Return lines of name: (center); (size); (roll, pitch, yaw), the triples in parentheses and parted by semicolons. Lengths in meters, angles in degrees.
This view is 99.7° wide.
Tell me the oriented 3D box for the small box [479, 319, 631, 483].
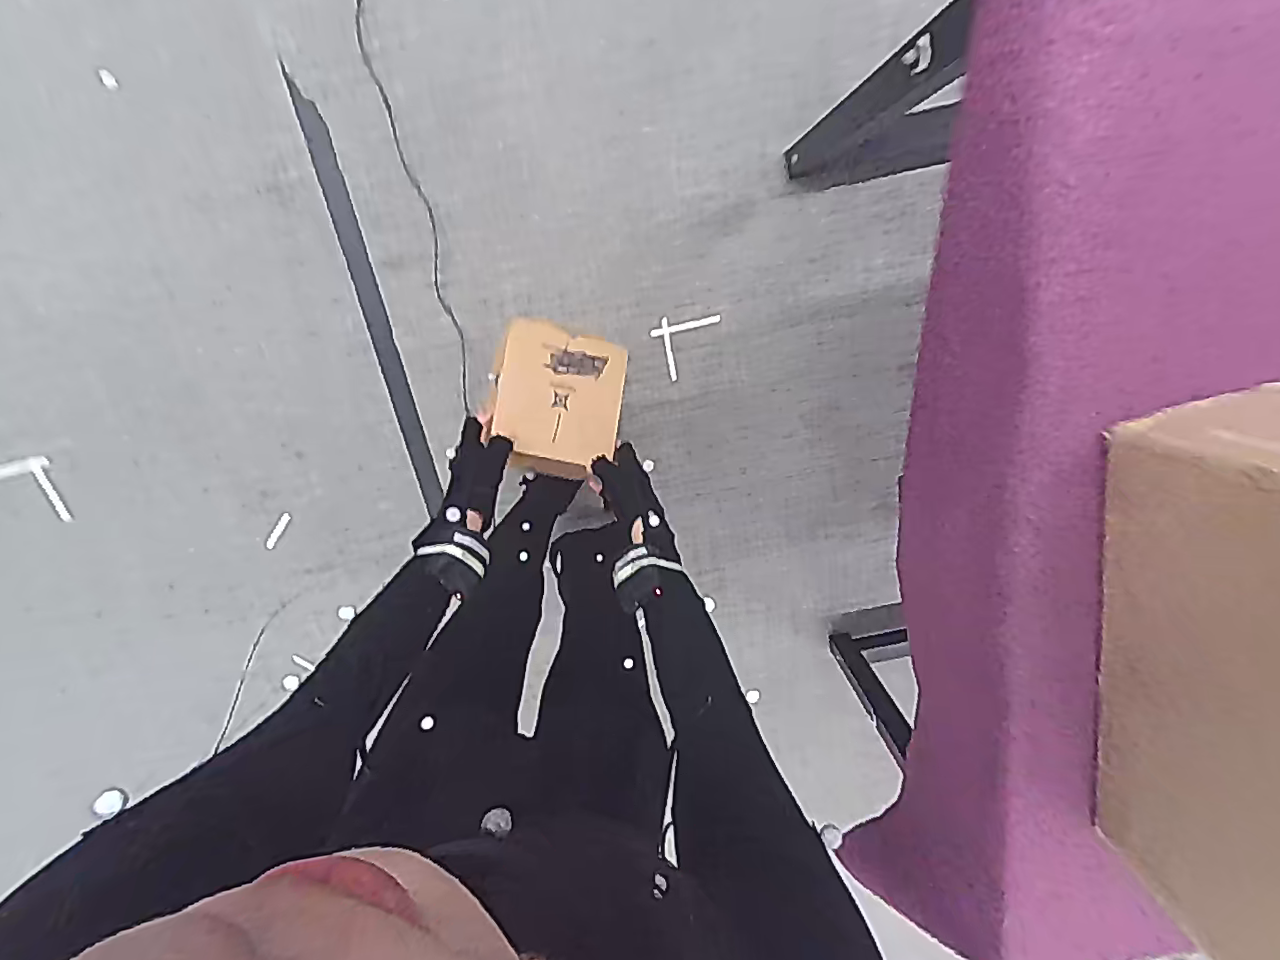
small box: (-0.128, -0.099, 0.773); (0.168, 0.176, 0.179); (11, 82, -21)
